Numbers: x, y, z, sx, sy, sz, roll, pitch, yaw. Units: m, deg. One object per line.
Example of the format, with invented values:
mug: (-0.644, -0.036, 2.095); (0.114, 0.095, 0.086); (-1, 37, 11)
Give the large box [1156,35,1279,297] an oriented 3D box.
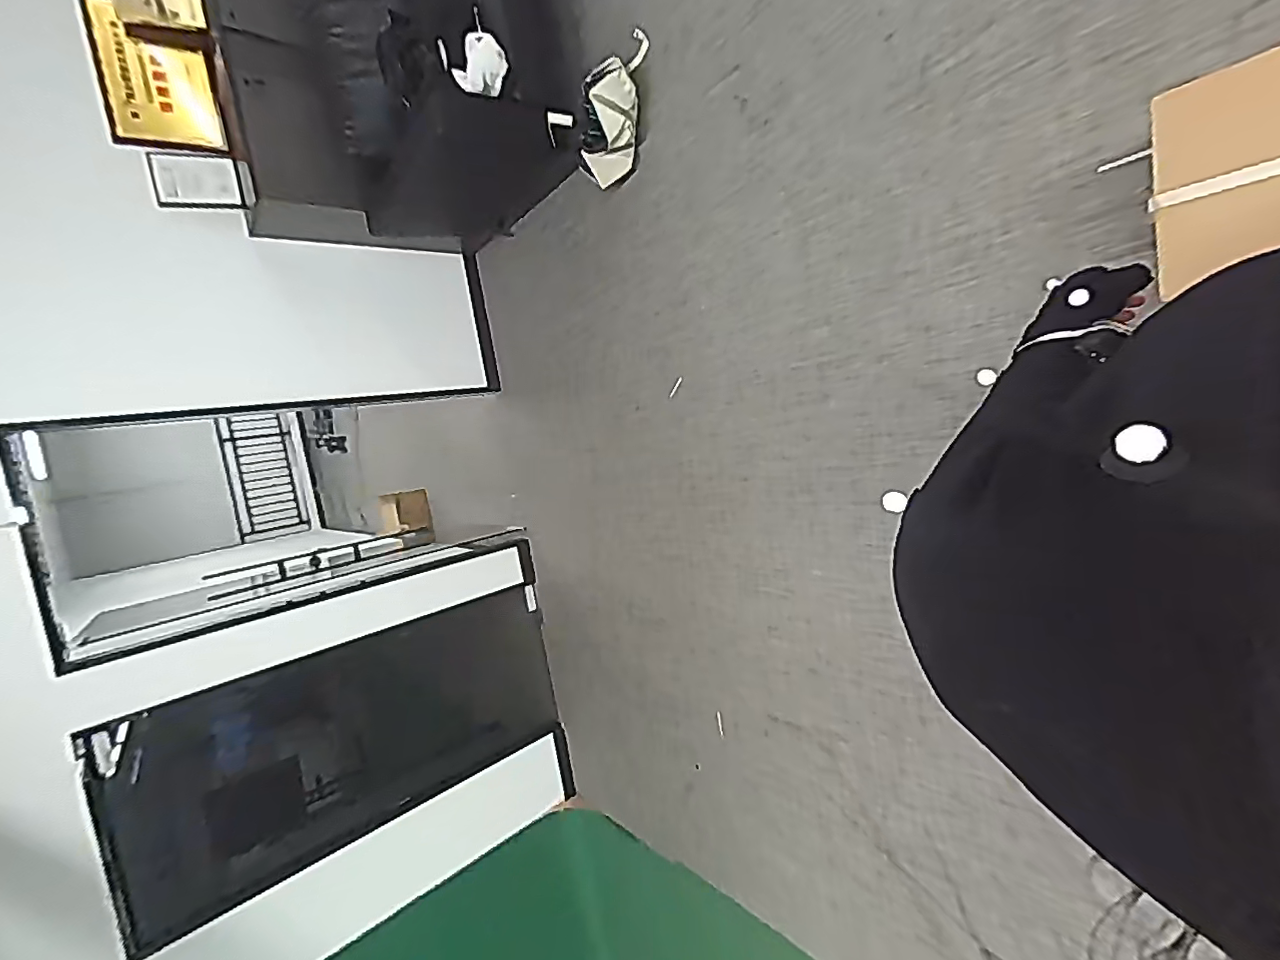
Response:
large box: (1.049, -0.478, 0.780); (0.408, 0.320, 0.320); (-1, 100, 51)
